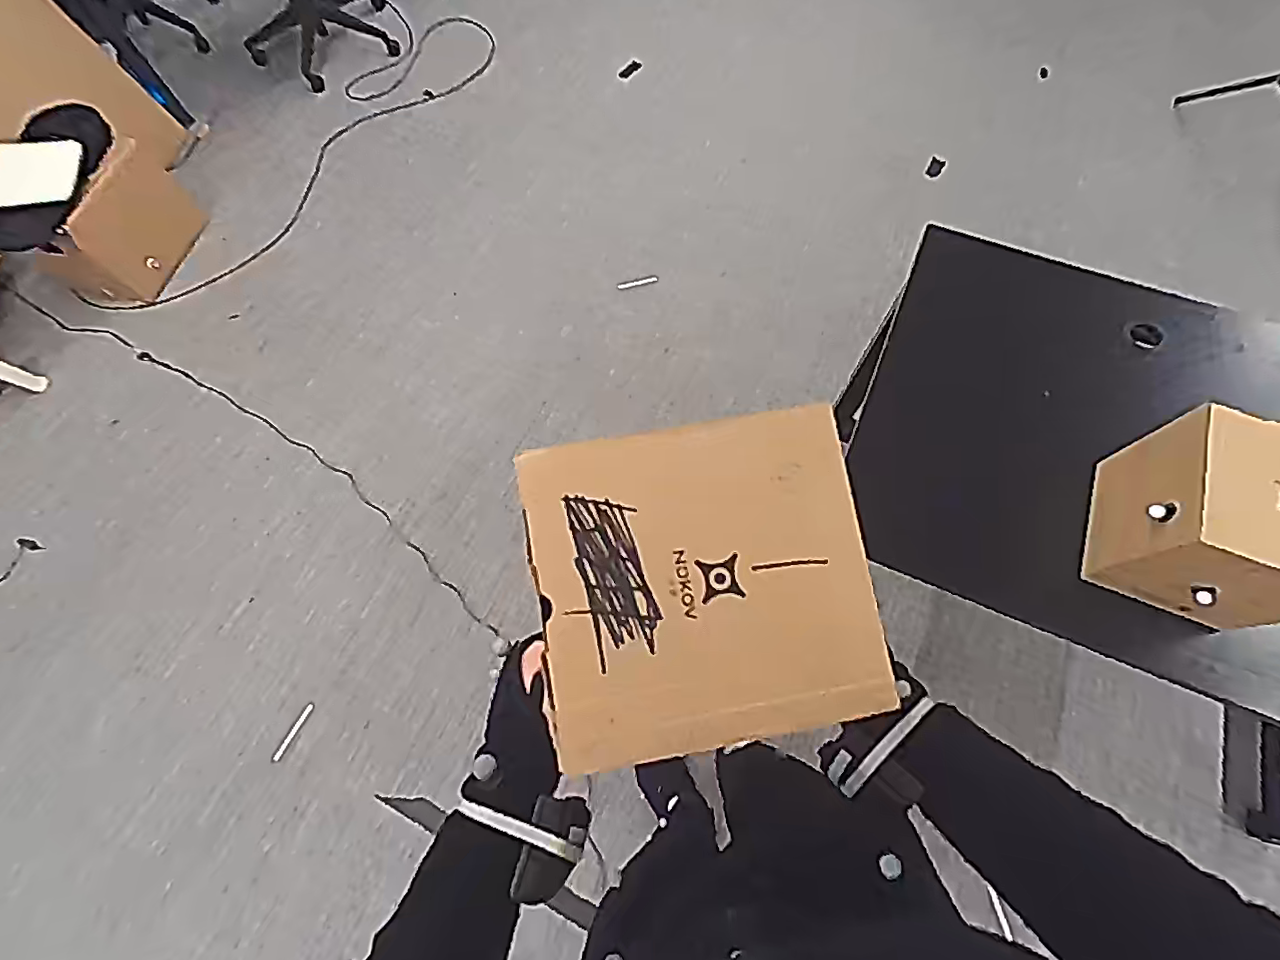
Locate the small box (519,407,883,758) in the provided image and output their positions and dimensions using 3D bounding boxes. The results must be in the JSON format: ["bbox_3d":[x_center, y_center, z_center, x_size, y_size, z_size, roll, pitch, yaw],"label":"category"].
[{"bbox_3d":[0.029,0.063,0.371,0.179,0.176,0.168,-10,82,-4],"label":"small box"}]

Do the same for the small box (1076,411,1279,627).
[{"bbox_3d":[0.658,0.055,0.631,0.168,0.176,0.179,22,69,10],"label":"small box"}]
